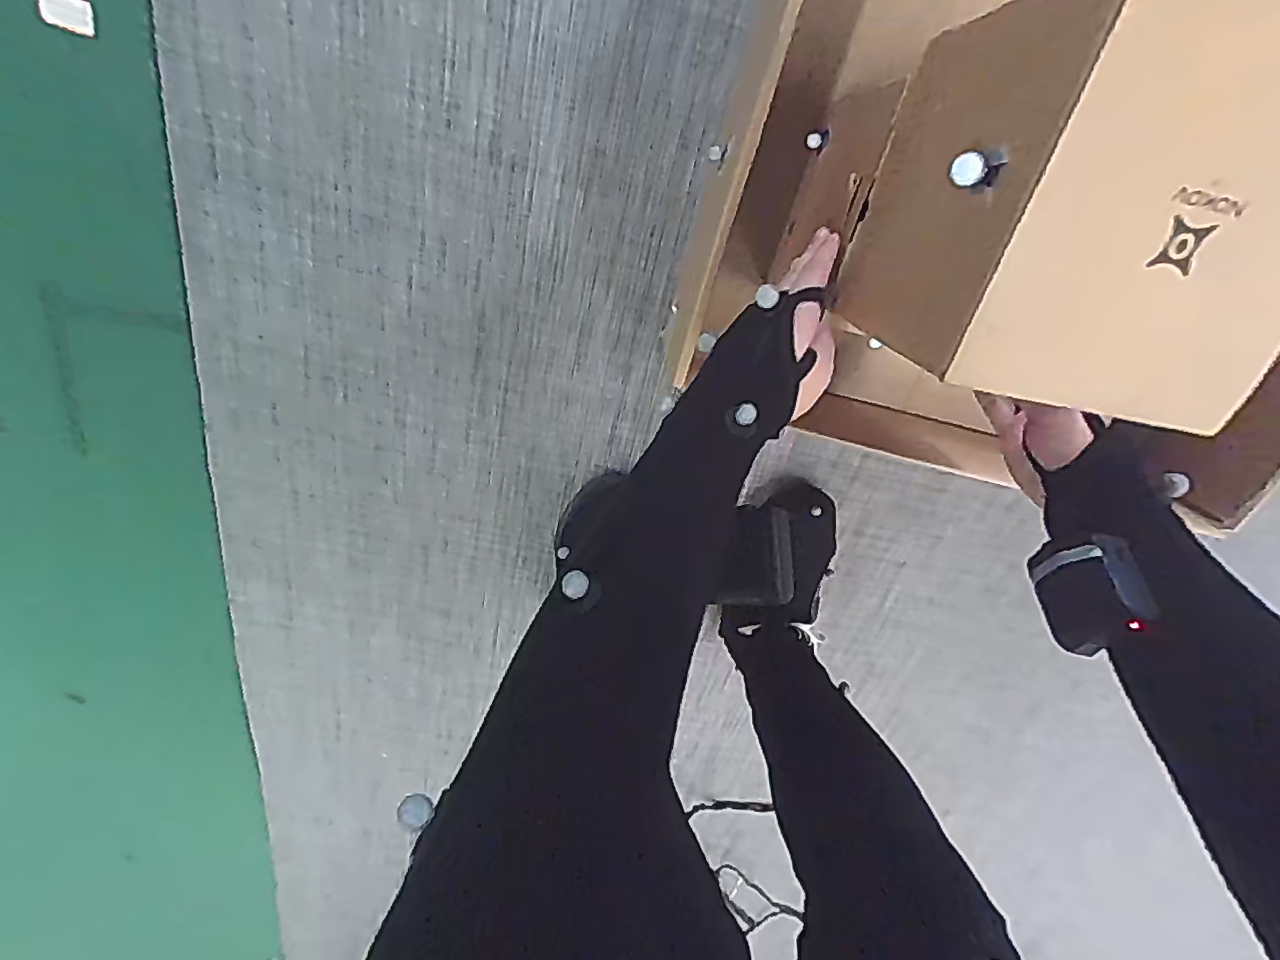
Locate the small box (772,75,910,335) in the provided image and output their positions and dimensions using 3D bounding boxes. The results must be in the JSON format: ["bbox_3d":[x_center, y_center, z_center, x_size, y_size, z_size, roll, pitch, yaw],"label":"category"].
[{"bbox_3d":[0.233,-0.214,0.468,0.179,0.176,0.168,11,117,-8],"label":"small box"}]

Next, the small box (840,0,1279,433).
[{"bbox_3d":[0.240,-0.151,0.319,0.168,0.176,0.179,9,117,-6],"label":"small box"}]
